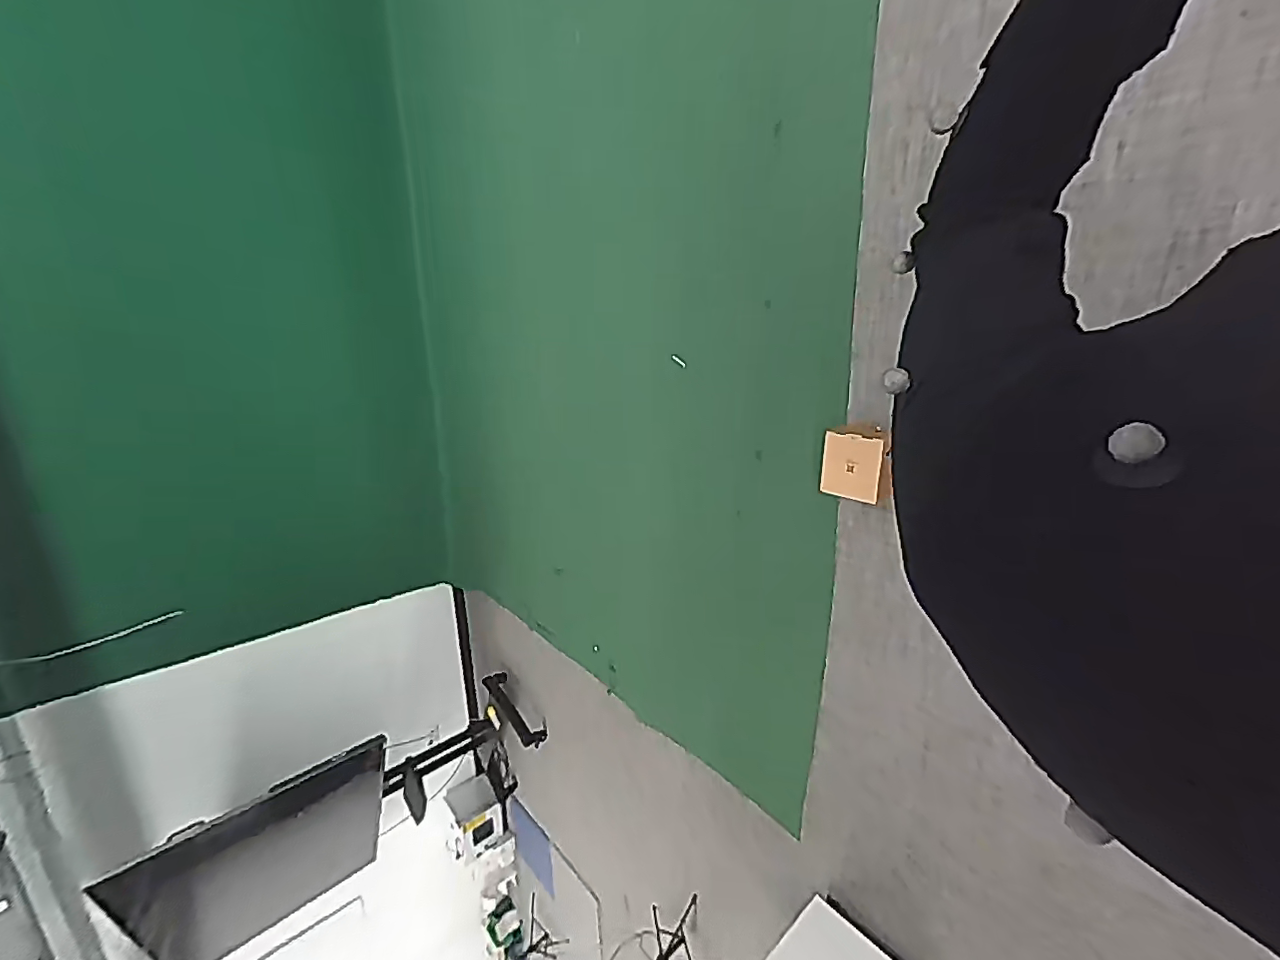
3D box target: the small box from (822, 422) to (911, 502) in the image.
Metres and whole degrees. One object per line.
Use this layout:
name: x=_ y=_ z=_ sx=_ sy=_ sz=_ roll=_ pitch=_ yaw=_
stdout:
small box: x=0.628 y=-0.056 z=1.495 sx=0.168 sy=0.176 sz=0.179 roll=17 pitch=112 yaw=46
